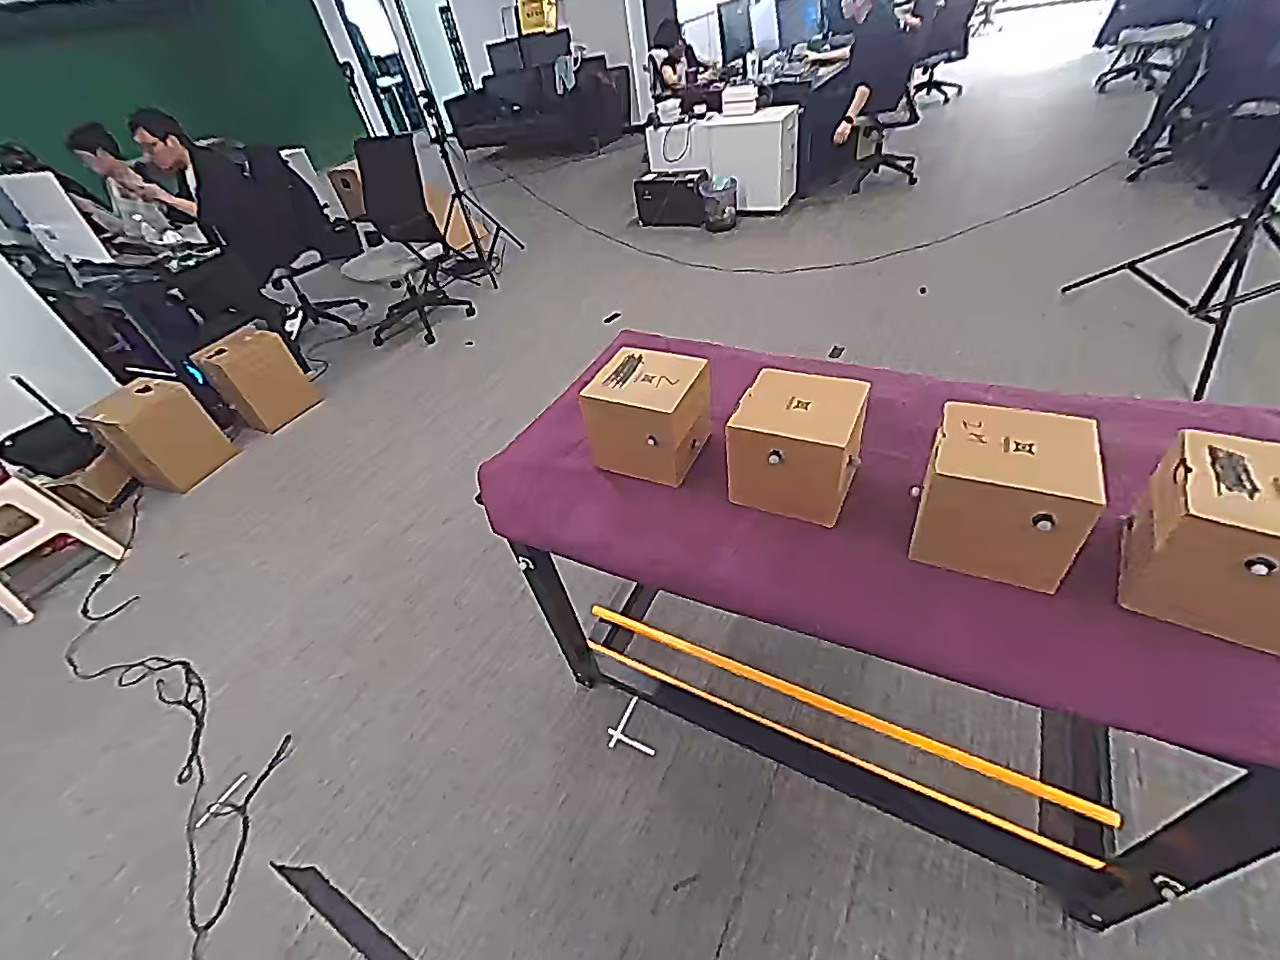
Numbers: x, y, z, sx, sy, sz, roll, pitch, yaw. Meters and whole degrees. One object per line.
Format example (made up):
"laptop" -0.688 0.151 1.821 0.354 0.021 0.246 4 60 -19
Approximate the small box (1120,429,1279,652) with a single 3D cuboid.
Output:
"small box" 0.694 0.069 0.622 0.179 0.176 0.168 19 49 30

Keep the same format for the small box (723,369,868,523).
"small box" 0.250 -0.054 0.870 0.179 0.176 0.168 14 48 27

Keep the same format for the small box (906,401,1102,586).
"small box" 0.480 0.018 0.731 0.179 0.176 0.168 13 46 26
